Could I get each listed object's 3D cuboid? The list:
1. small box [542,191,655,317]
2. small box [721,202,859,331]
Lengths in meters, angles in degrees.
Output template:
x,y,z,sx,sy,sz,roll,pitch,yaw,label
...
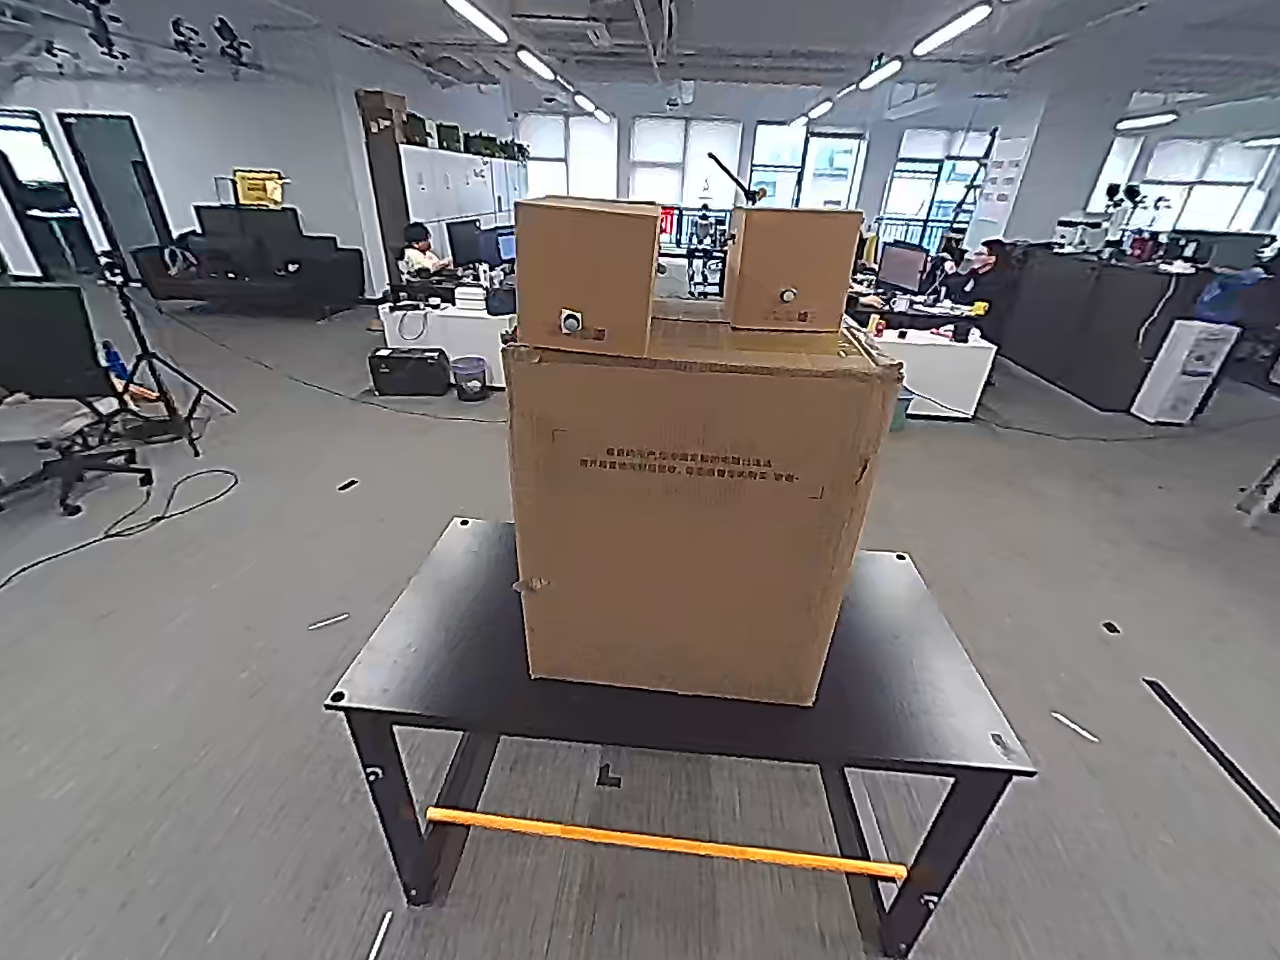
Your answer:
x,y,z,sx,sy,sz,roll,pitch,yaw,label
-0.065,-0.378,0.902,0.168,0.176,0.179,4,27,1,small box
0.224,-0.342,0.858,0.168,0.176,0.179,2,28,1,small box
